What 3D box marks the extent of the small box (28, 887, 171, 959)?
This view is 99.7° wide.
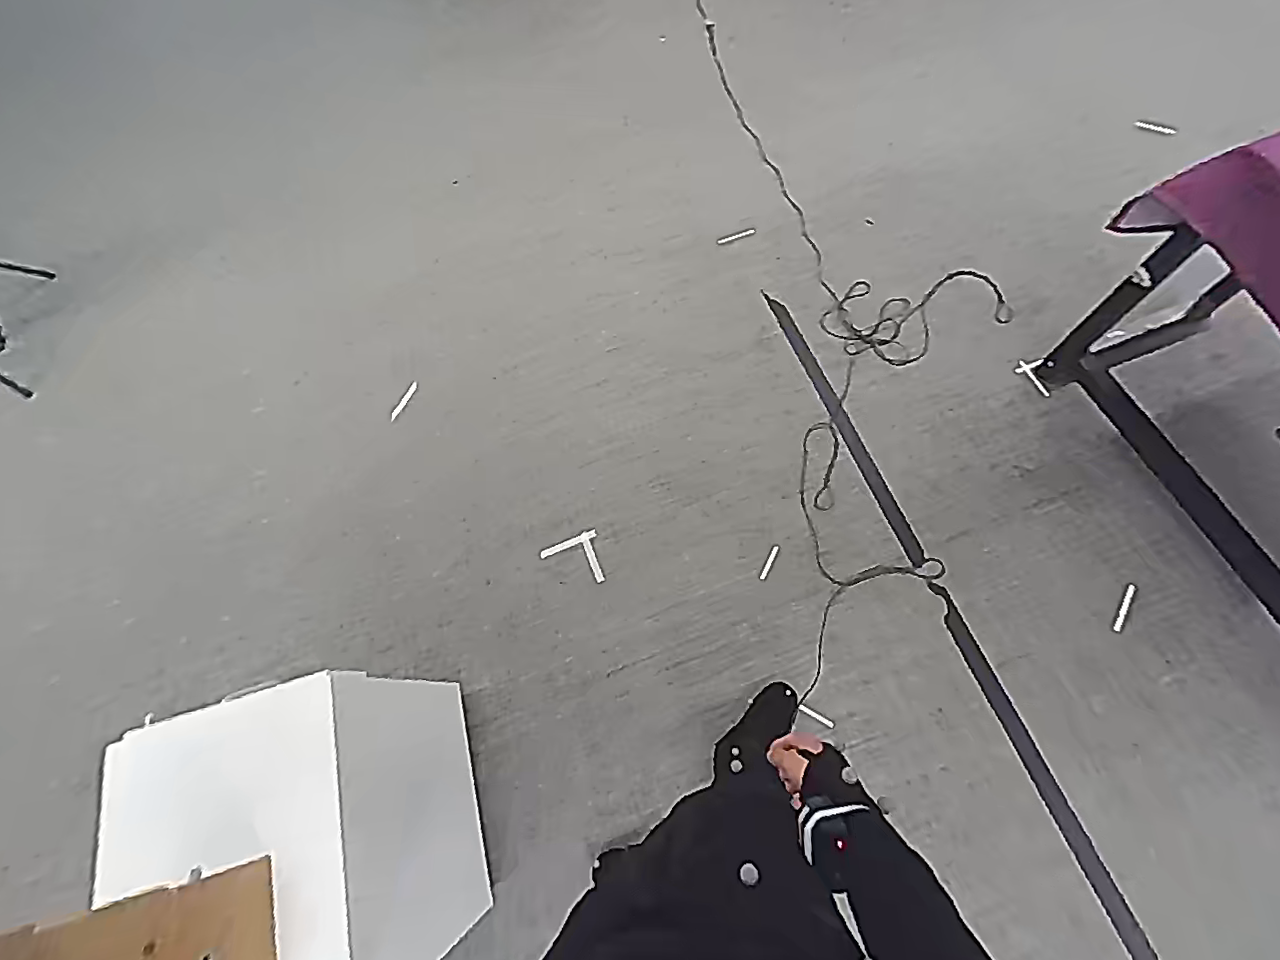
[{"bbox_3d":[-0.660,0.581,0.585,0.179,0.176,0.168,-19,67,-2],"label":"small box"}]

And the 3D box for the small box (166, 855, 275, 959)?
[{"bbox_3d":[-0.628,0.650,0.730,0.168,0.176,0.179,-20,66,-3],"label":"small box"}]
